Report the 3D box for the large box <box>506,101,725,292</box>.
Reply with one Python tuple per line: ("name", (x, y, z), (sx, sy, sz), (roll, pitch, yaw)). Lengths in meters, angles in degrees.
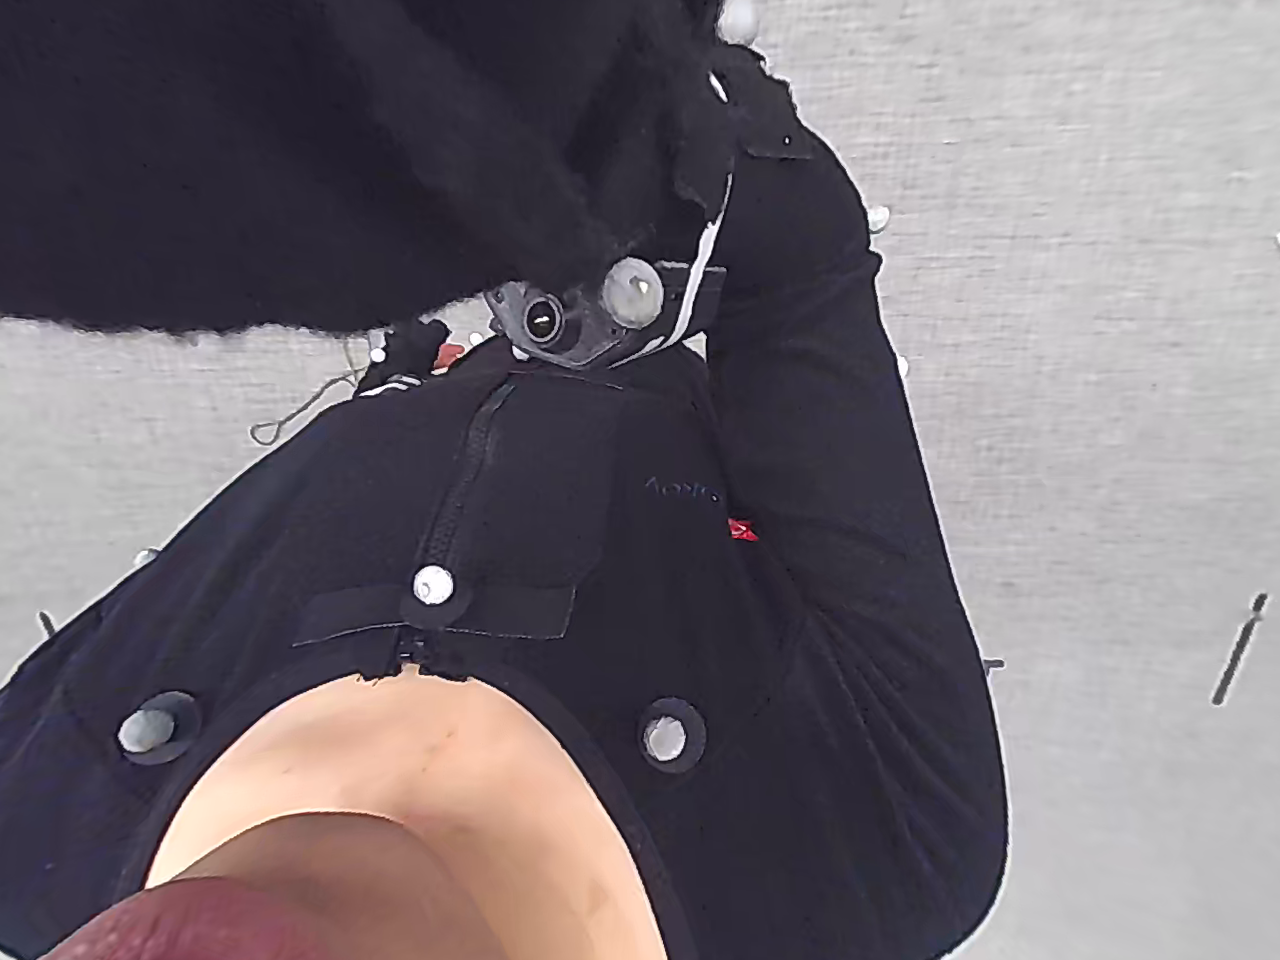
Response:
("large box", (-0.049, -0.577, 1.163), (0.408, 0.320, 0.320), (2, 109, 0))
